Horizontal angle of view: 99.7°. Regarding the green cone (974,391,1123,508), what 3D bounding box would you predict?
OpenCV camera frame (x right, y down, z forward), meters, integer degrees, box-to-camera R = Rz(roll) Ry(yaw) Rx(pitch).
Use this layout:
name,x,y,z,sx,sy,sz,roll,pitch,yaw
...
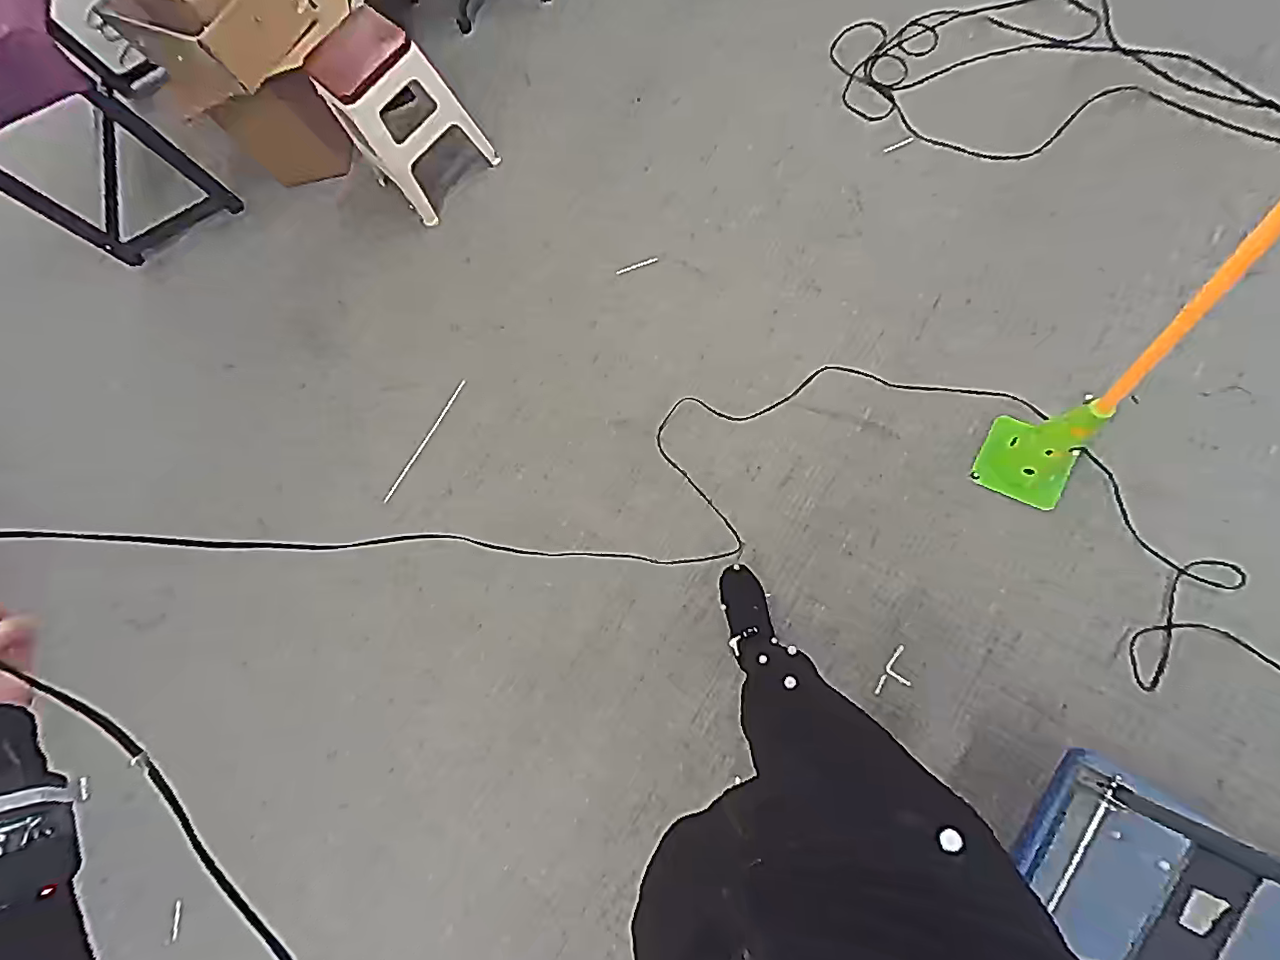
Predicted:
name,x,y,z,sx,sy,sz,roll,pitch,yaw
green cone,0.931,-0.096,1.189,0.200,0.368,0.202,26,81,18
